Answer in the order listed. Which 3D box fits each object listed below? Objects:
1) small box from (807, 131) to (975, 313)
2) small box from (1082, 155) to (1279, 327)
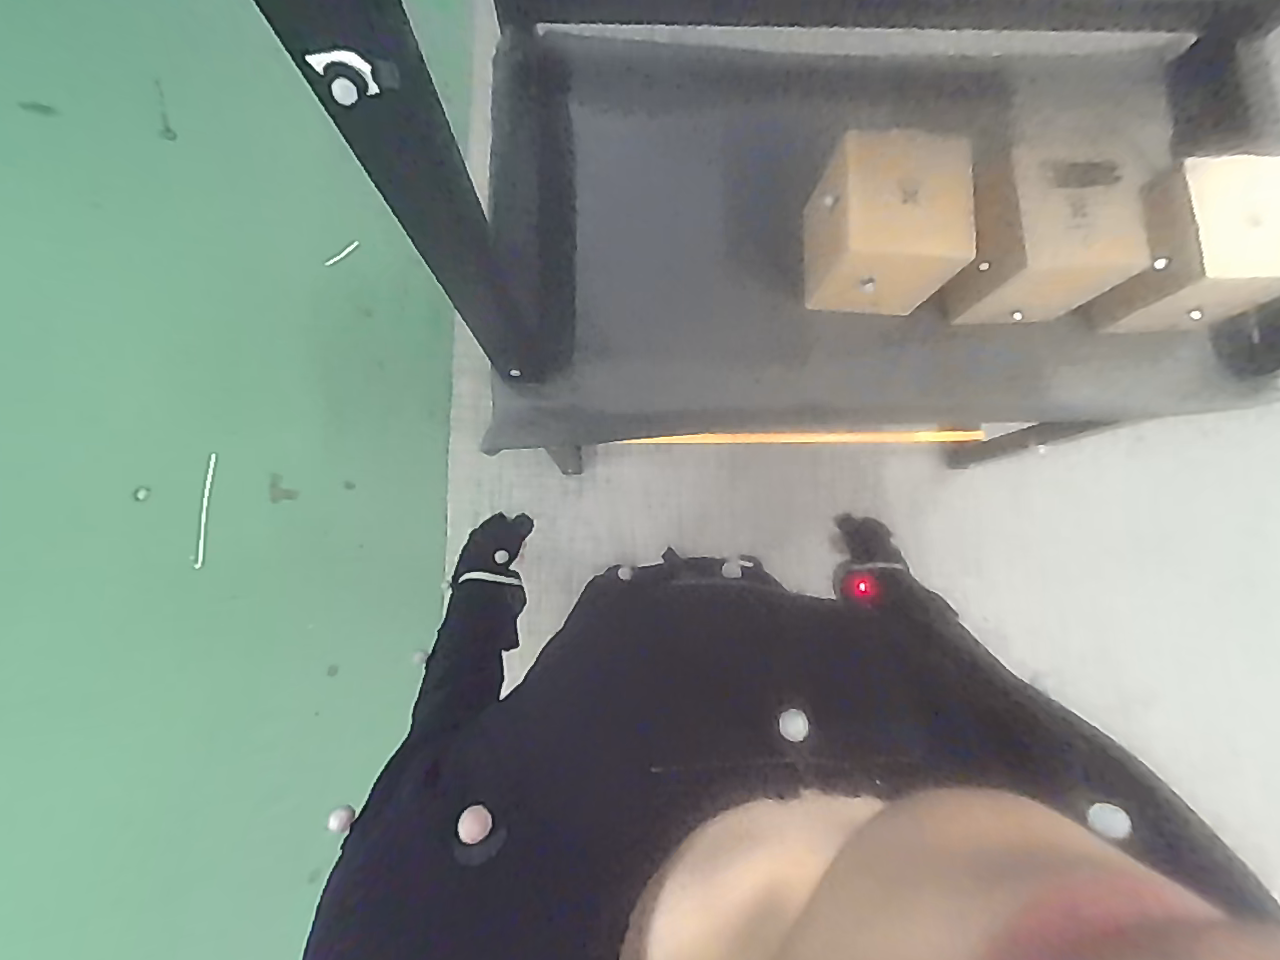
[{"bbox_3d":[0.349,-0.358,0.778,0.168,0.176,0.179,3,81,-1],"label":"small box"},{"bbox_3d":[0.796,-0.333,0.783,0.168,0.176,0.179,-2,81,-2],"label":"small box"}]
